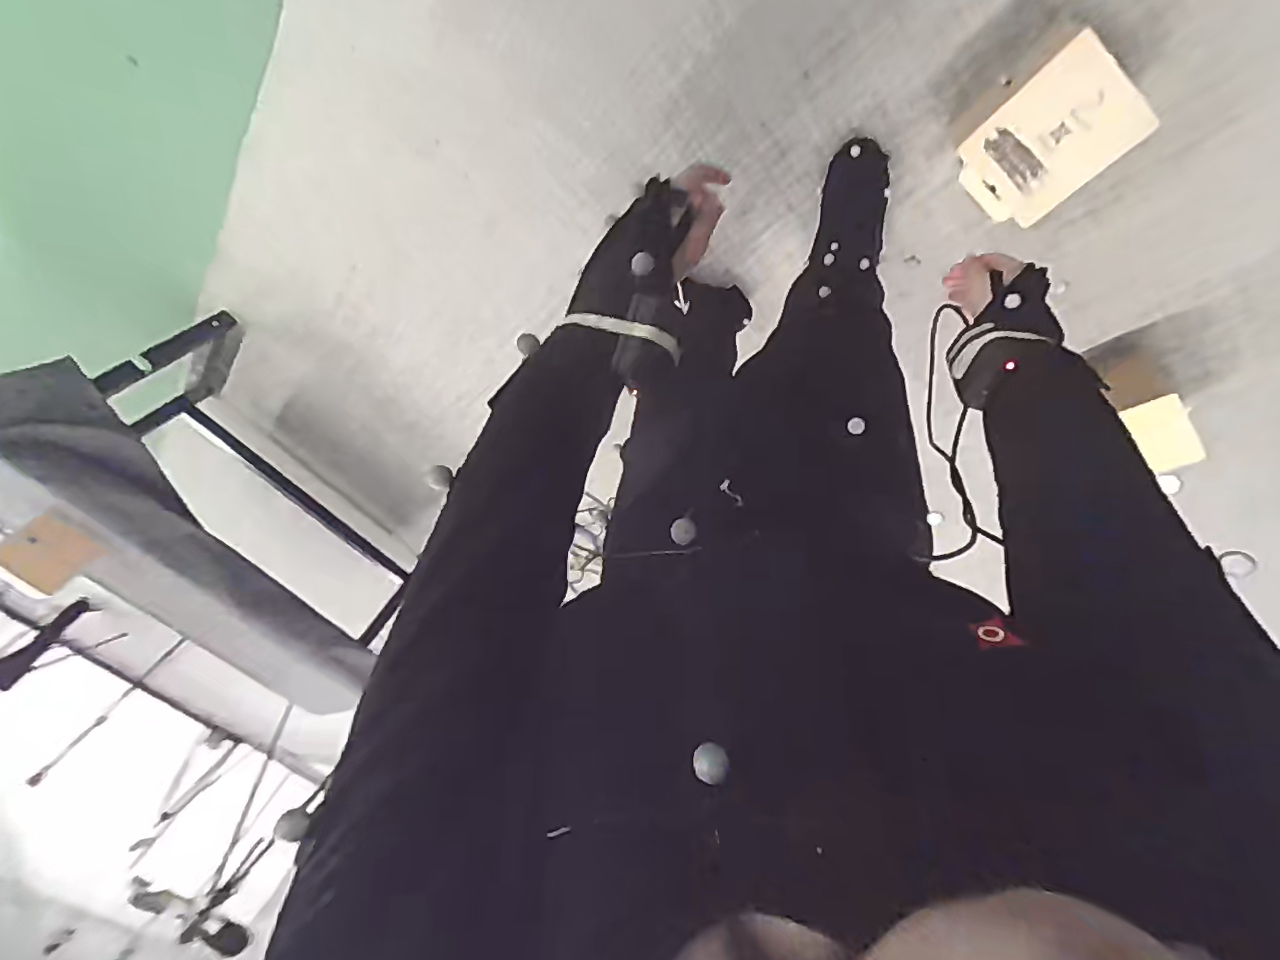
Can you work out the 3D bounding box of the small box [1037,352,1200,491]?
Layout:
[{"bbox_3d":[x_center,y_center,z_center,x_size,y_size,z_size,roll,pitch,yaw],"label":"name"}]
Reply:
[{"bbox_3d":[0.912,-0.115,1.045,0.168,0.176,0.179,45,134,-19],"label":"small box"}]

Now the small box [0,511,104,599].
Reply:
[{"bbox_3d":[-1.616,0.197,1.446,0.168,0.176,0.179,-10,127,33],"label":"small box"}]
